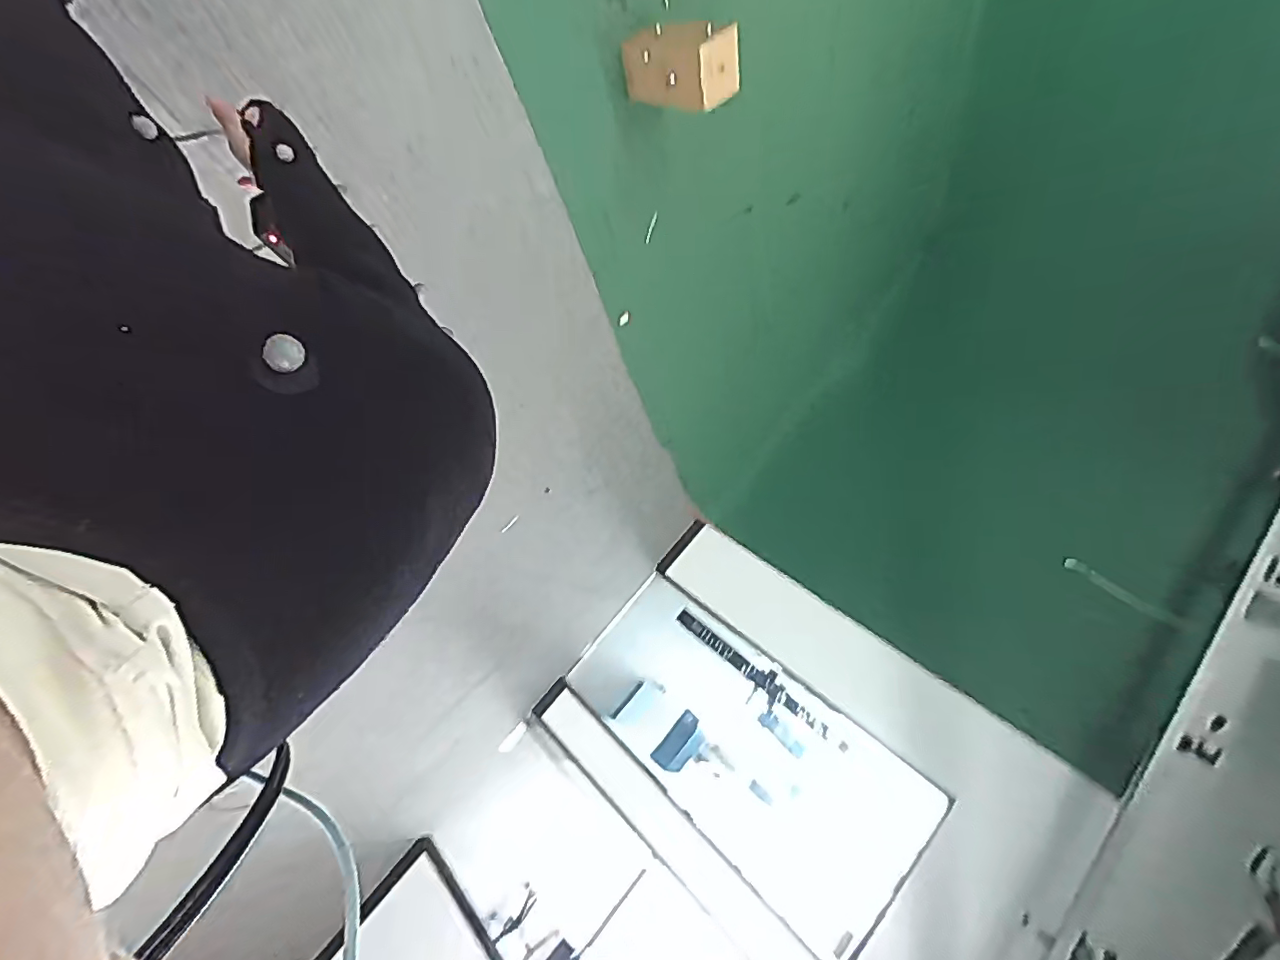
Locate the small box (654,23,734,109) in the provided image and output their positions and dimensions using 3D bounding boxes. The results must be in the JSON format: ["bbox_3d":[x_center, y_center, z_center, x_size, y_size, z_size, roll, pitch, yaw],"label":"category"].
[{"bbox_3d":[0.168,-1.281,1.666,0.179,0.176,0.168,-43,146,-19],"label":"small box"}]
